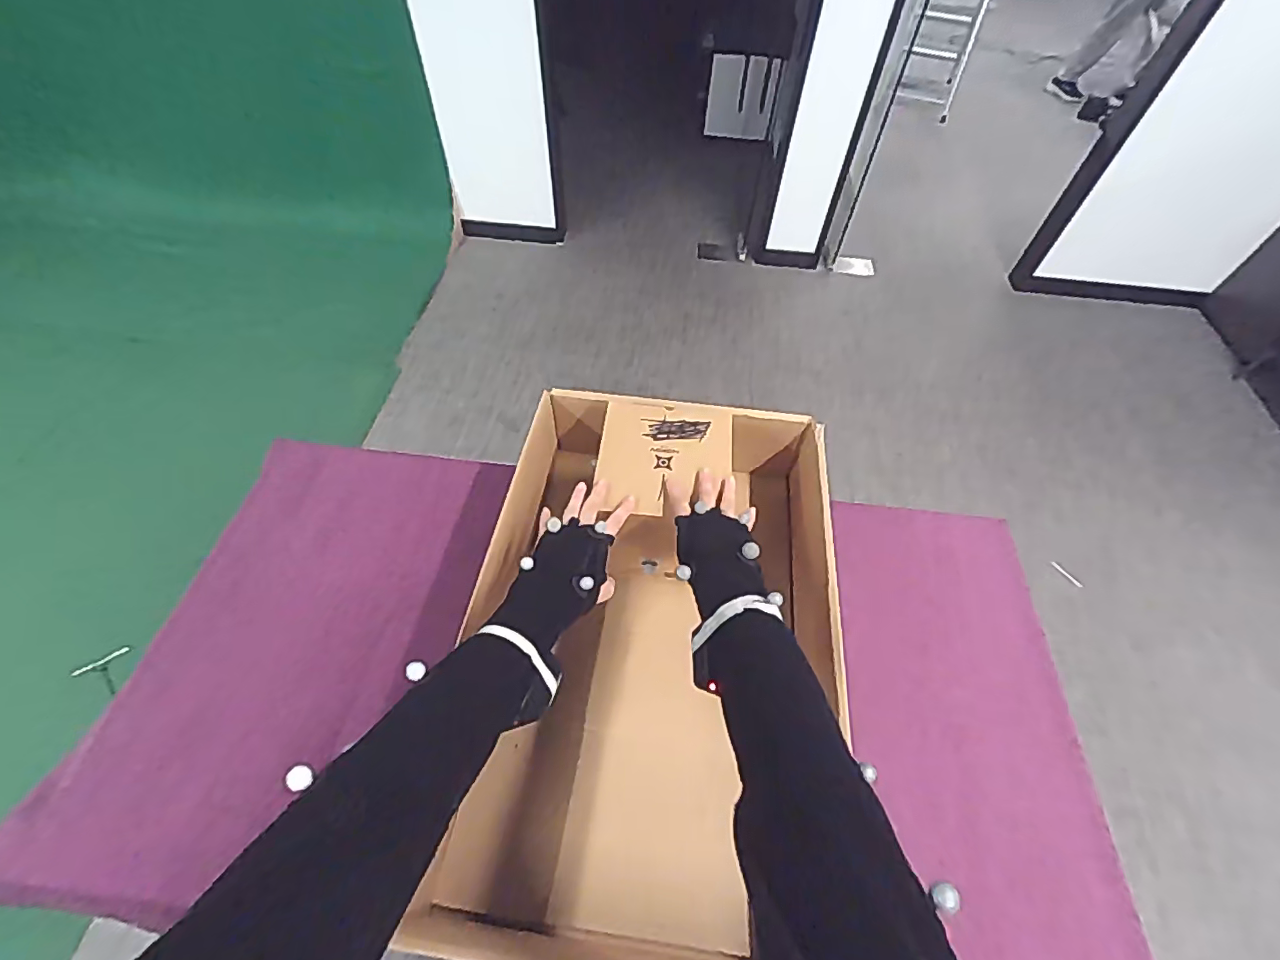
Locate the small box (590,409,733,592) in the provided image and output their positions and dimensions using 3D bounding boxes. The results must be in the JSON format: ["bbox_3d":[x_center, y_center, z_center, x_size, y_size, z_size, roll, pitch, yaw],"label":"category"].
[{"bbox_3d":[0.029,0.030,0.730,0.168,0.176,0.179,6,55,3],"label":"small box"}]
